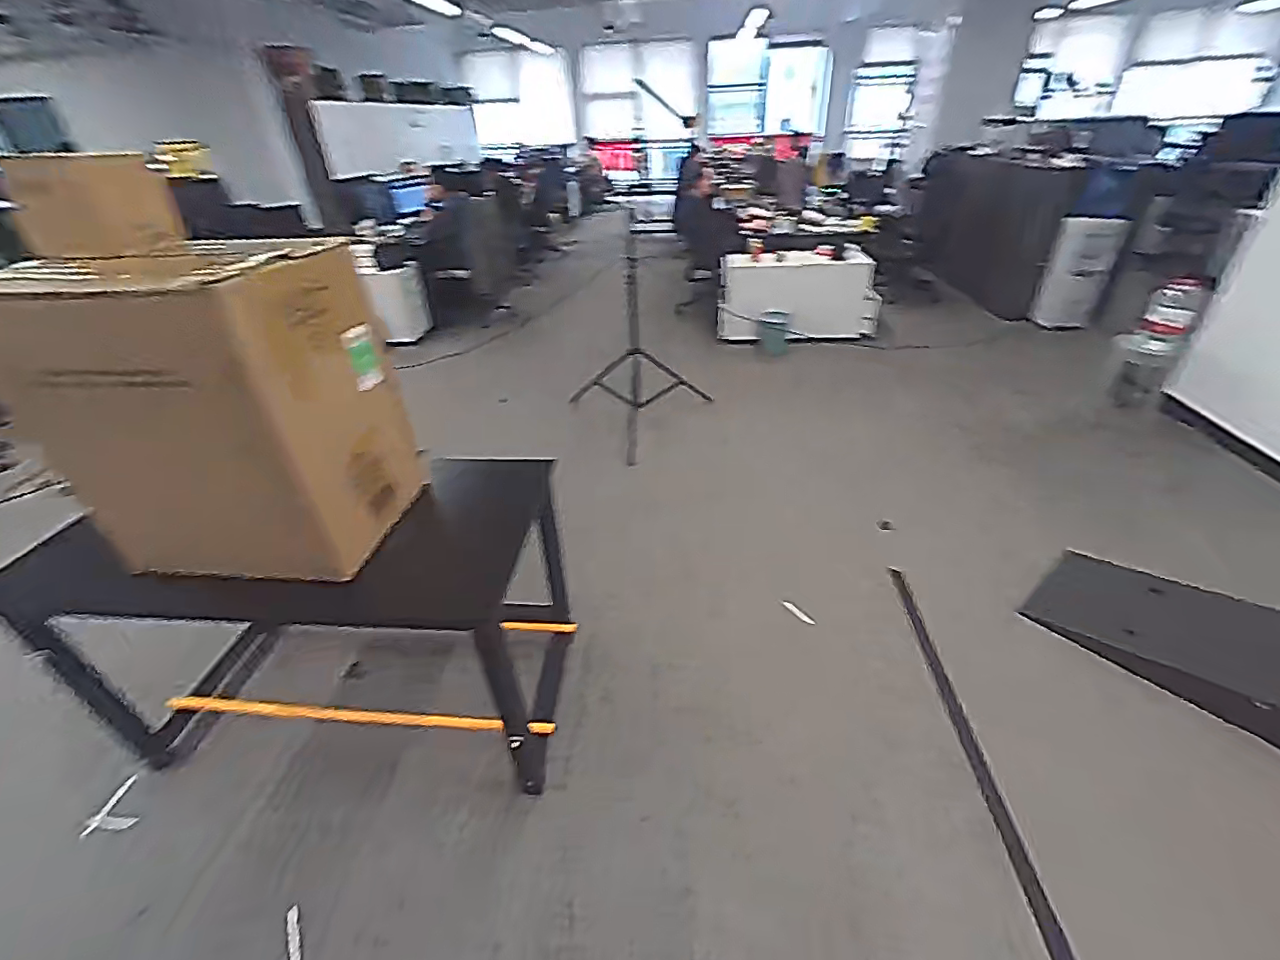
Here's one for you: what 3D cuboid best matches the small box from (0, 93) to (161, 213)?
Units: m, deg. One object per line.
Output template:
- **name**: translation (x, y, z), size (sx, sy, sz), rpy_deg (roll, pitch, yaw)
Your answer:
- **small box**: translation (-1.026, -0.573, 0.956), size (0.179, 0.176, 0.168), rpy_deg (3, 33, 5)
